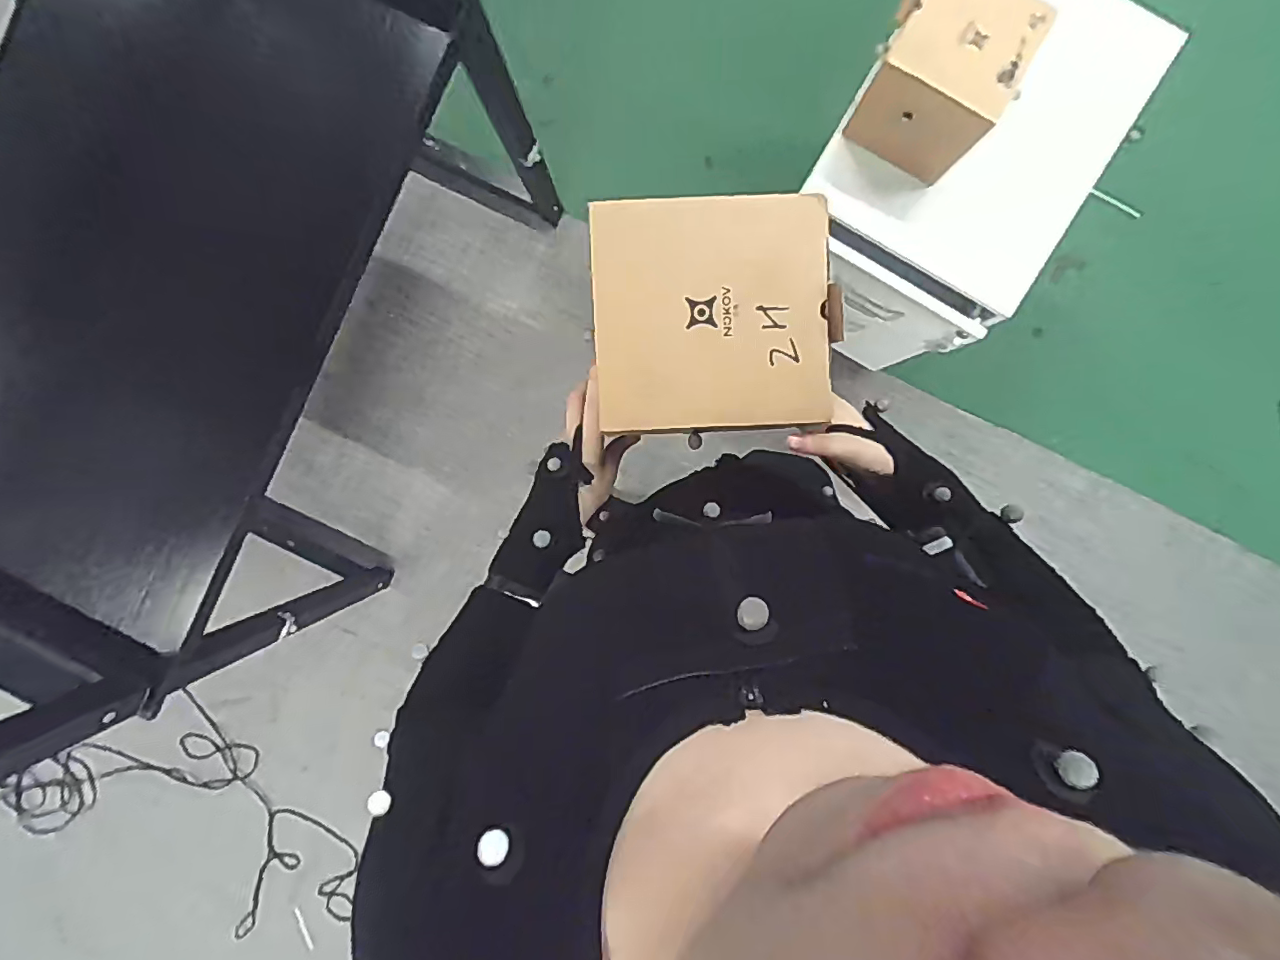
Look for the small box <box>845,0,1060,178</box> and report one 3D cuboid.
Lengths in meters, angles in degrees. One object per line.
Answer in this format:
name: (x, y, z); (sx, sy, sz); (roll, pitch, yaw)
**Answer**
small box: (0.426, -0.575, 0.774); (0.179, 0.176, 0.168); (29, 93, 1)
